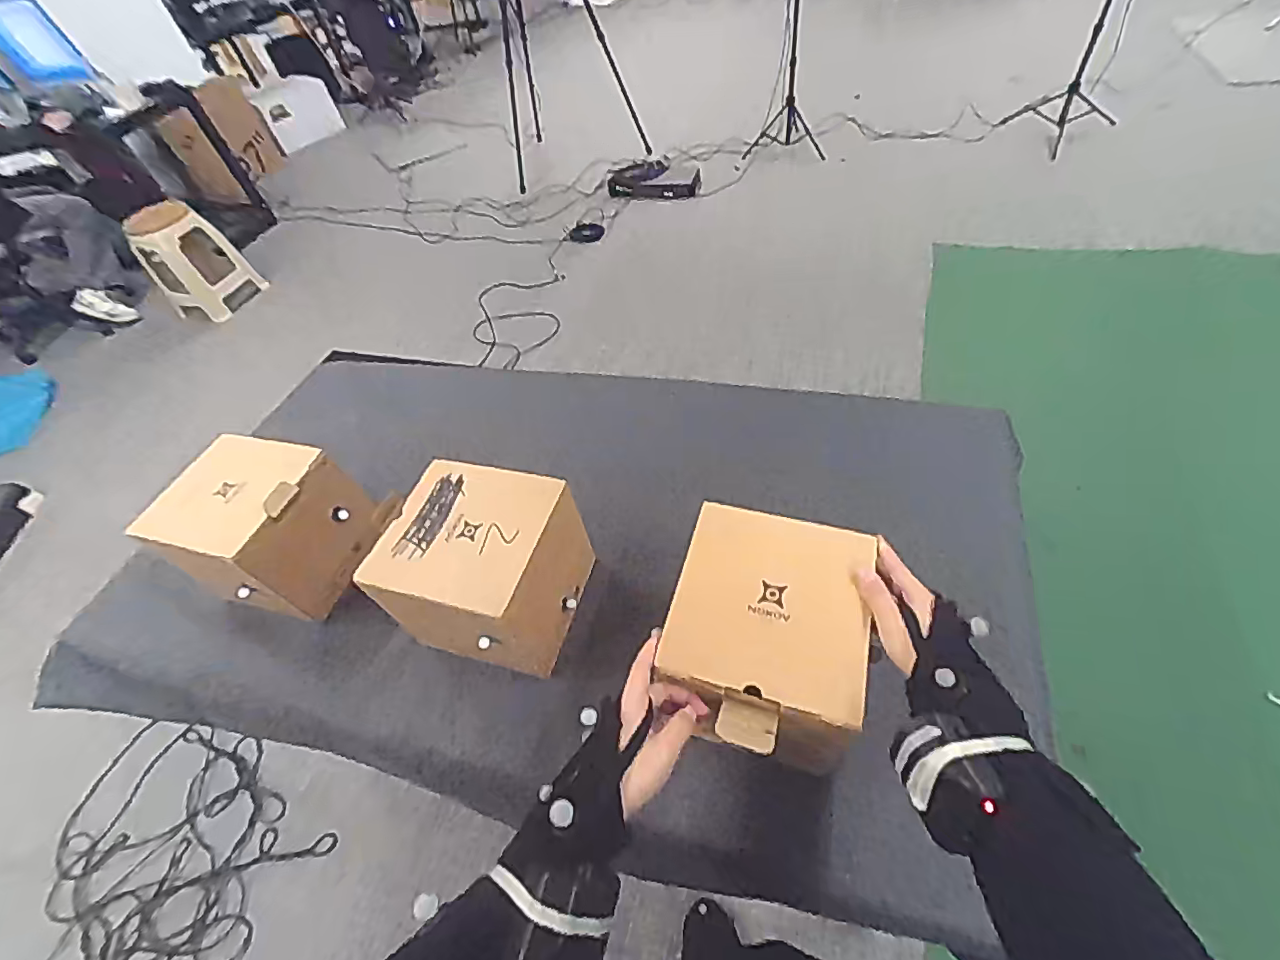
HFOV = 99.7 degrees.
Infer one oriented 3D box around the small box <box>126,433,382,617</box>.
[{"bbox_3d":[-0.483,0.062,0.711,0.179,0.176,0.168,7,52,16],"label":"small box"}]
